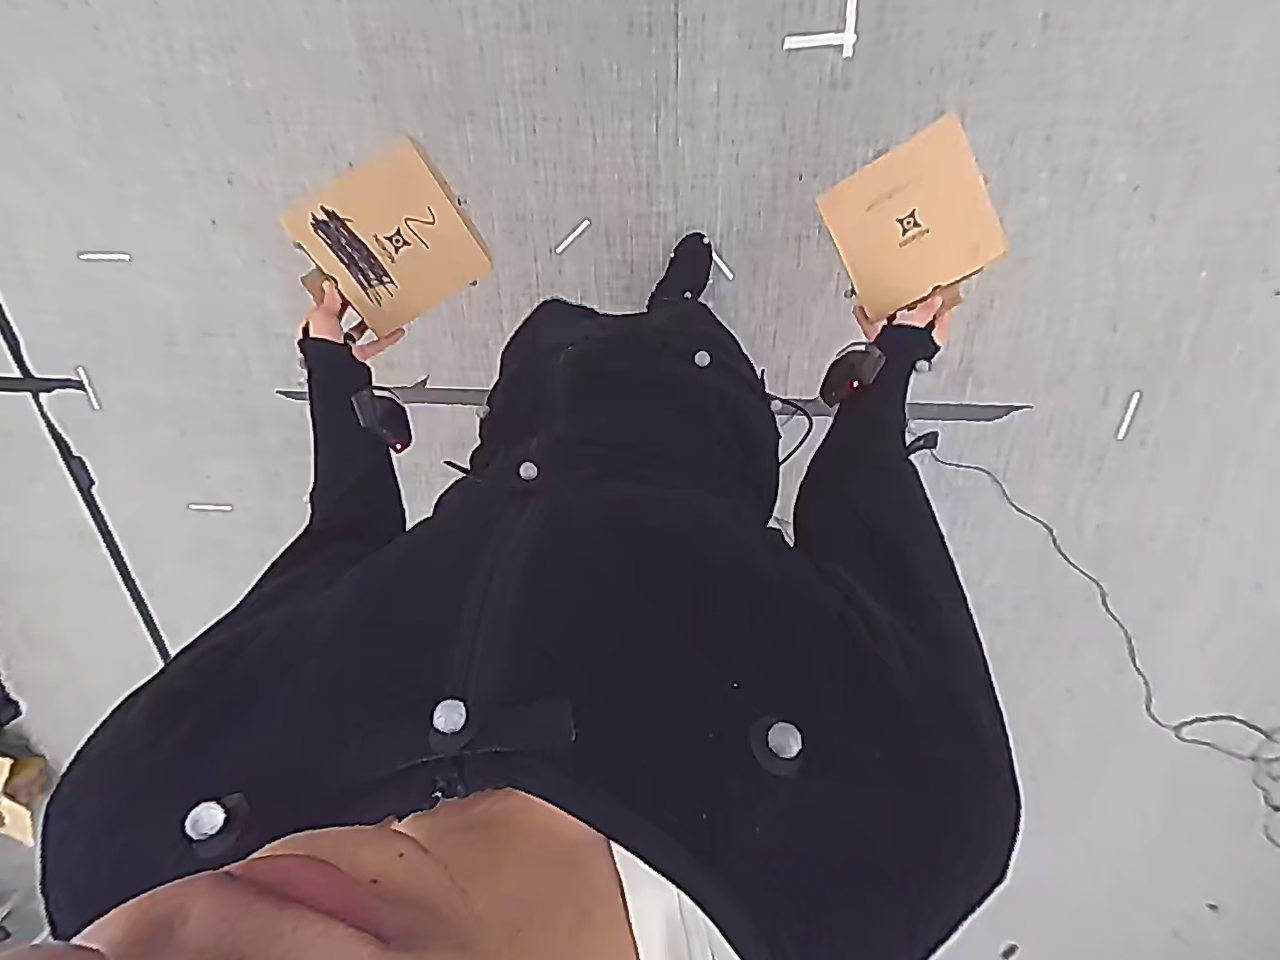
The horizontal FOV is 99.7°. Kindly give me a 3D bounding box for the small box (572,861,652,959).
[{"bbox_3d":[-0.061,1.028,1.262,0.168,0.176,0.179,1,115,5],"label":"small box"}]

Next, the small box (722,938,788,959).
[{"bbox_3d":[0.294,1.294,1.350,0.168,0.176,0.179,-1,113,5],"label":"small box"}]

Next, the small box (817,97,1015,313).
[{"bbox_3d":[0.347,-0.344,0.703,0.168,0.176,0.179,-25,102,27],"label":"small box"}]
